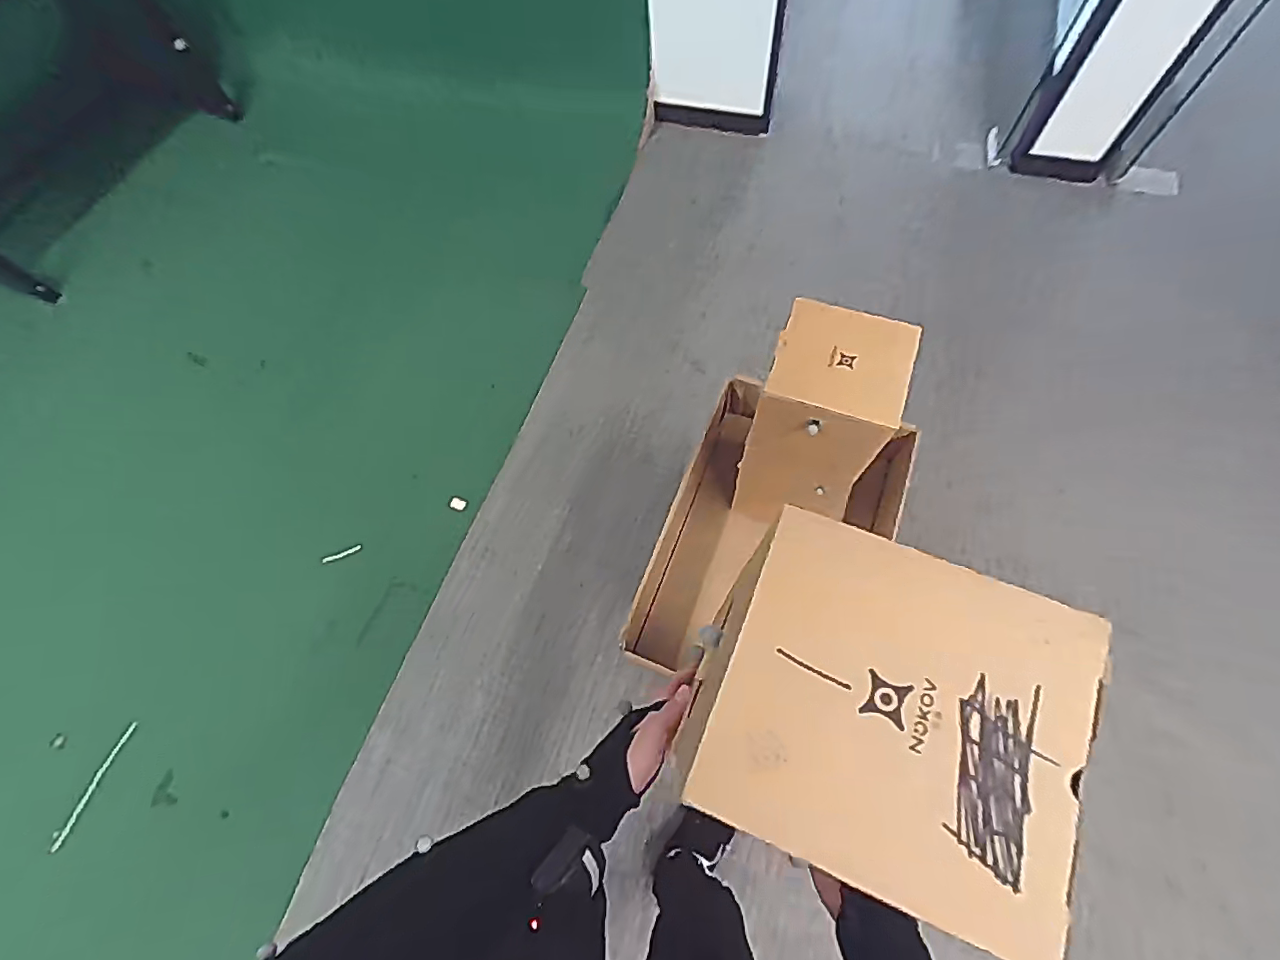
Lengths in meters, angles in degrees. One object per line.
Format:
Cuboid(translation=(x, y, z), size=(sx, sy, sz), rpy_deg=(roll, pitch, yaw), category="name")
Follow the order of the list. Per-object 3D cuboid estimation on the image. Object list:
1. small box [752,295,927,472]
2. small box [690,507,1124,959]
Cuboid(translation=(0.276, -0.129, 0.778), size=(0.179, 0.176, 0.168), rpy_deg=(18, 71, 11), category="small box")
Cuboid(translation=(0.142, 0.141, 0.344), size=(0.179, 0.176, 0.168), rpy_deg=(21, 72, 10), category="small box")
